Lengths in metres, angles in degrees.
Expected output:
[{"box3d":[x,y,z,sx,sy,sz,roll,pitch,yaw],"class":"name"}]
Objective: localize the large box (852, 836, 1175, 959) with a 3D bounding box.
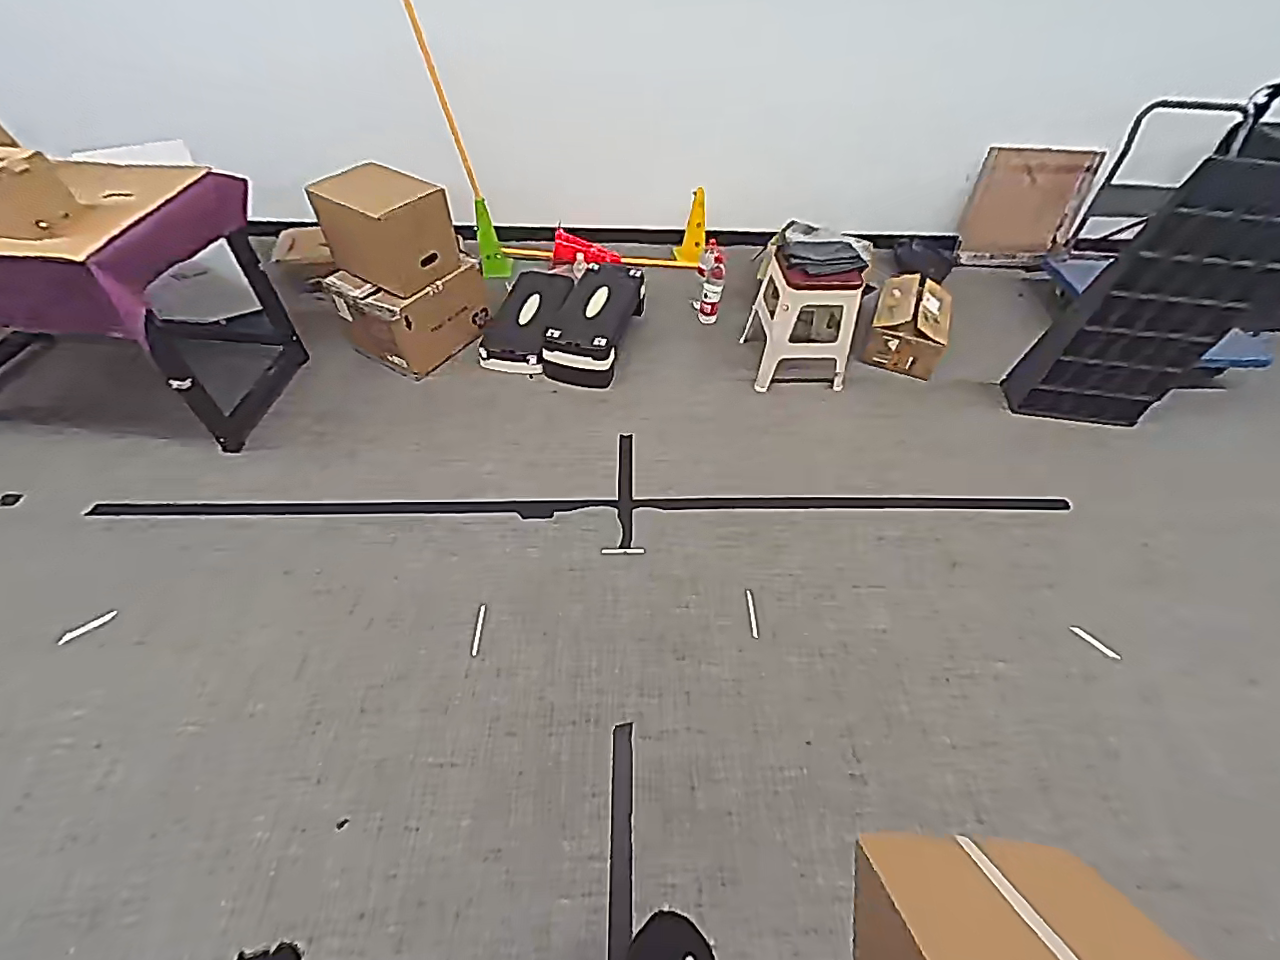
[{"box3d":[0.462,0.696,0.611,0.320,0.408,0.320,4,89,3],"class":"large box"}]
